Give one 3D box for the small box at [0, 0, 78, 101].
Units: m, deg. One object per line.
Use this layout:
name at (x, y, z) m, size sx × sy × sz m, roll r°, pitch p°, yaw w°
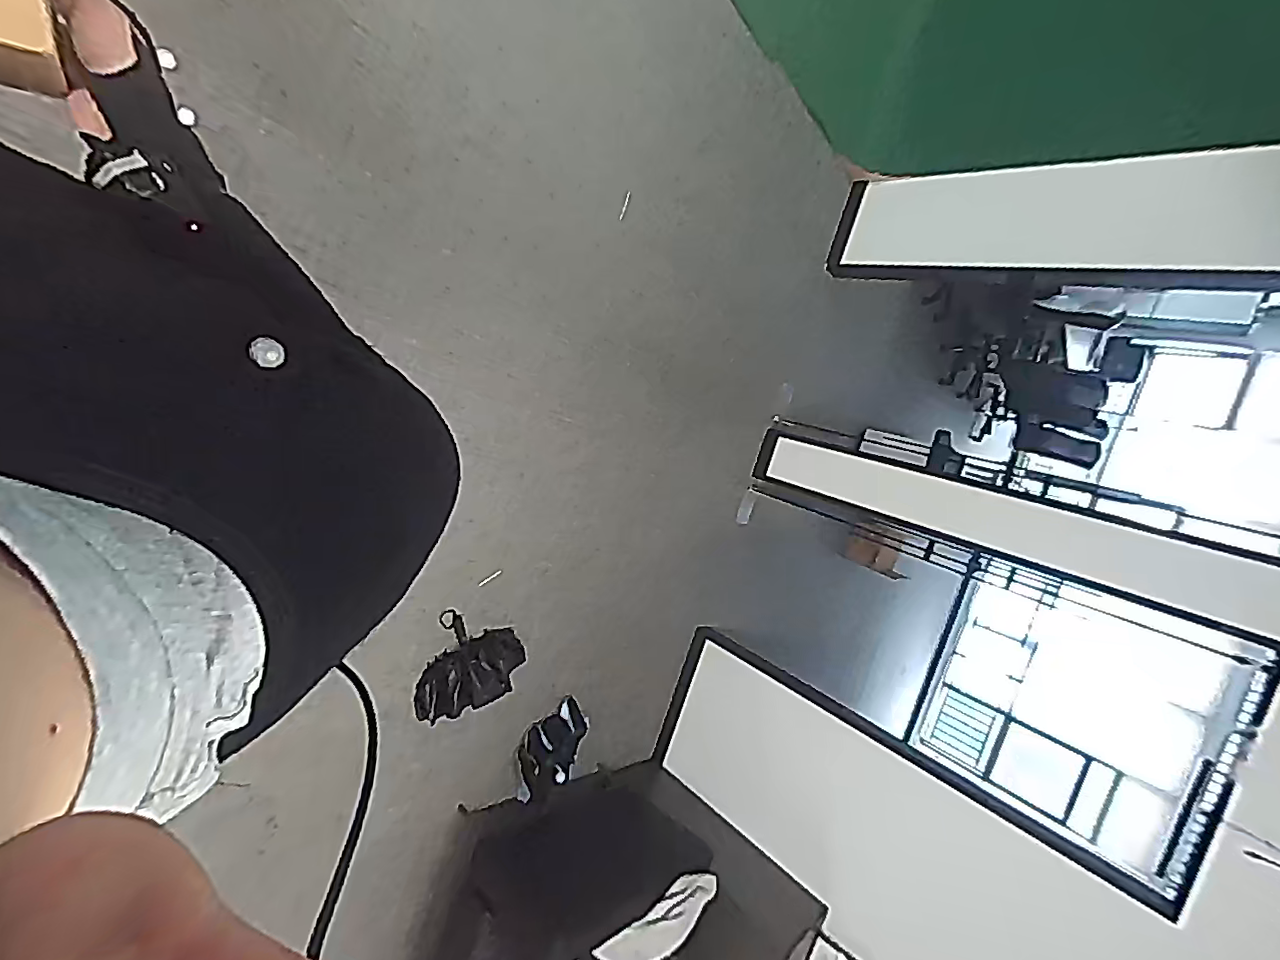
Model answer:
small box at (-0.455, -0.337, 0.300) m, size 0.179 × 0.176 × 0.168 m, roll -12°, pitch 117°, yaw -42°
